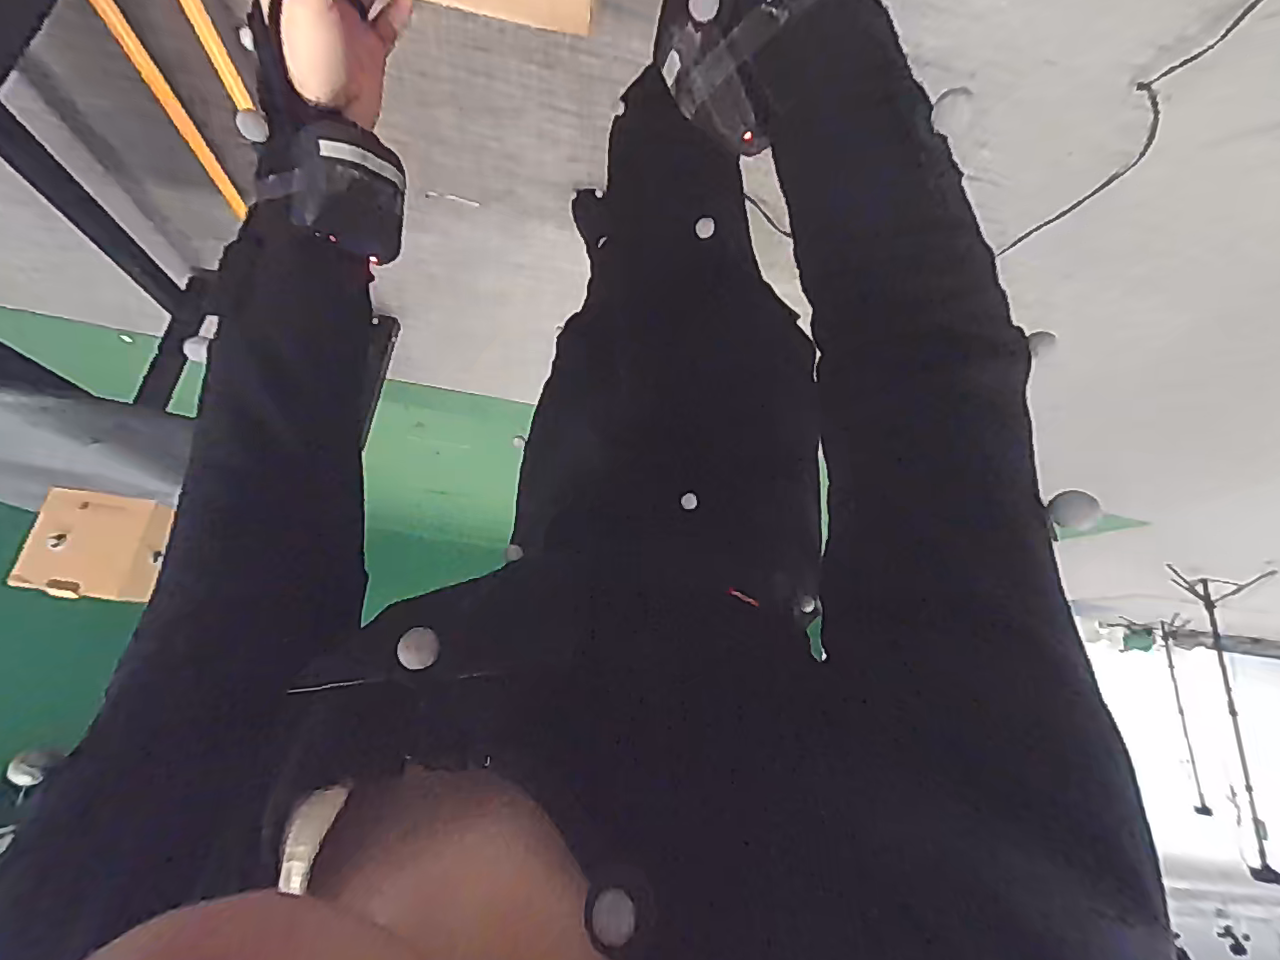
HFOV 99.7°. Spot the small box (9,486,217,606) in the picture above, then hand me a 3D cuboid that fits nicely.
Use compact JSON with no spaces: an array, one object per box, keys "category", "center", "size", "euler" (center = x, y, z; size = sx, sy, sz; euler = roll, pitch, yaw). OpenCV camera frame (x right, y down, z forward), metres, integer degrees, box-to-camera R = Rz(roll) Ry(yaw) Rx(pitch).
[{"category":"small box","center":[-0.902,0.119,0.948],"size":[0.168,0.176,0.179],"euler":[10,163,-4]}]

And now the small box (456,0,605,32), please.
[{"category":"small box","center":[-0.087,-0.376,0.255],"size":[0.179,0.176,0.168],"euler":[11,166,-5]}]
